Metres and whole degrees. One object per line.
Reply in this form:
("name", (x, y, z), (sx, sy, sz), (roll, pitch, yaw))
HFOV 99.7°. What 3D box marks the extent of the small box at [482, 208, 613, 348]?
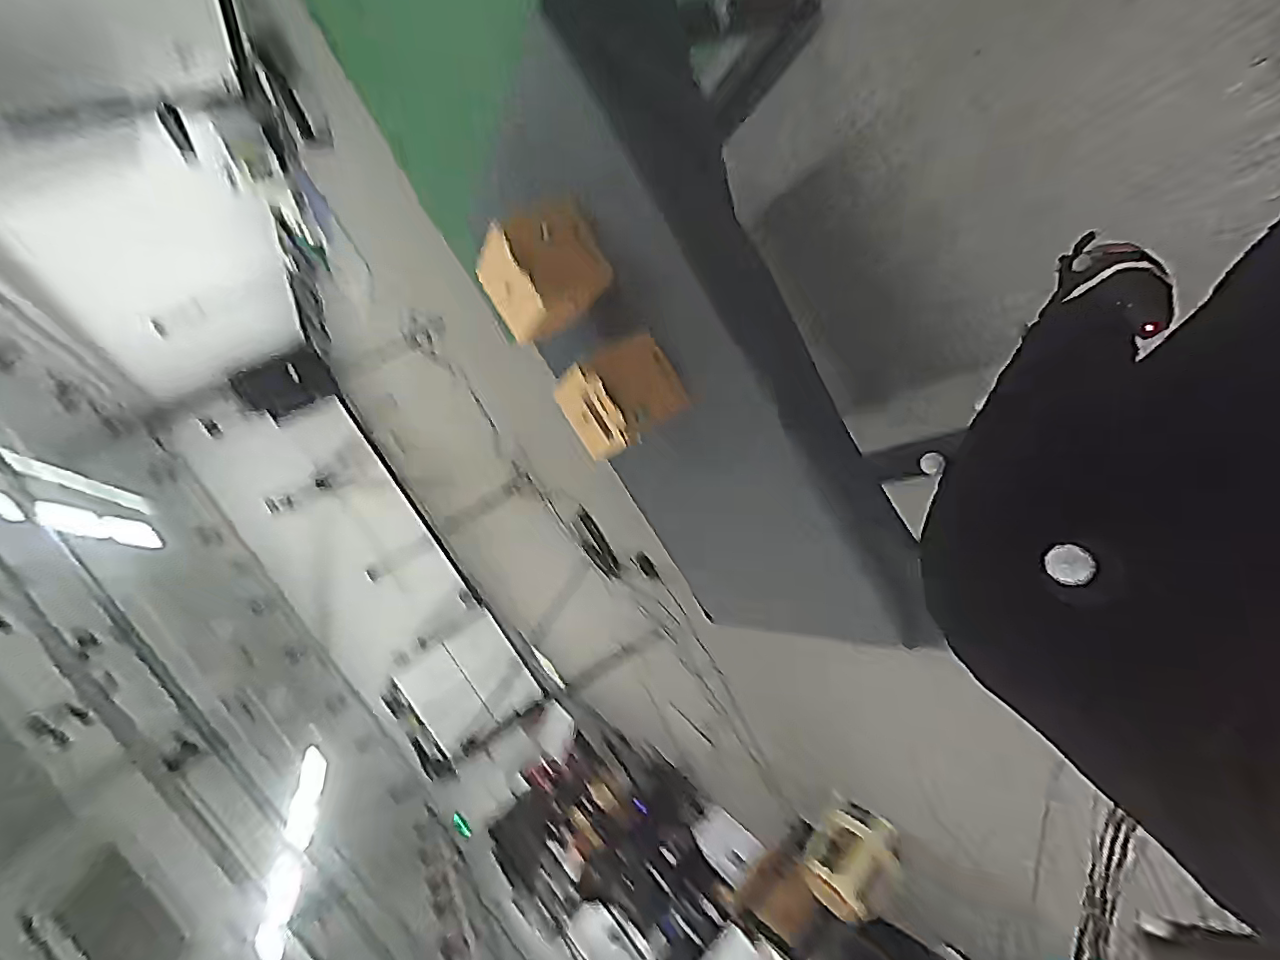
("small box", (-0.176, -0.390, 1.046), (0.168, 0.176, 0.179), (58, 154, -5))
